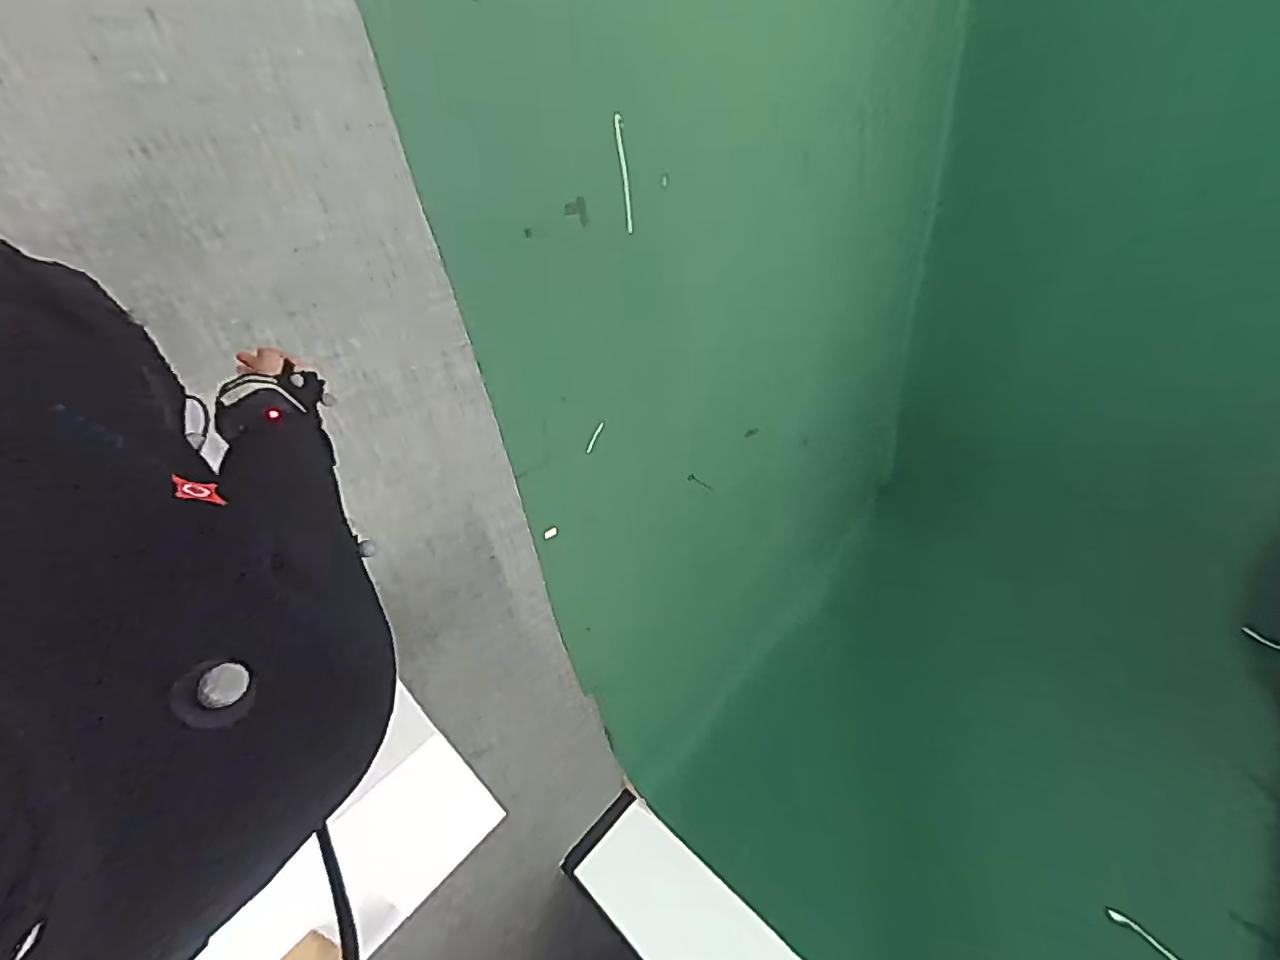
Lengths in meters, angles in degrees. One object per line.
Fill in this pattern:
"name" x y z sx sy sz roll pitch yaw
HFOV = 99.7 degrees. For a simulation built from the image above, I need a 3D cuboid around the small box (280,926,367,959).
"small box" -0.576 0.941 0.950 0.168 0.176 0.179 -38 135 -29
